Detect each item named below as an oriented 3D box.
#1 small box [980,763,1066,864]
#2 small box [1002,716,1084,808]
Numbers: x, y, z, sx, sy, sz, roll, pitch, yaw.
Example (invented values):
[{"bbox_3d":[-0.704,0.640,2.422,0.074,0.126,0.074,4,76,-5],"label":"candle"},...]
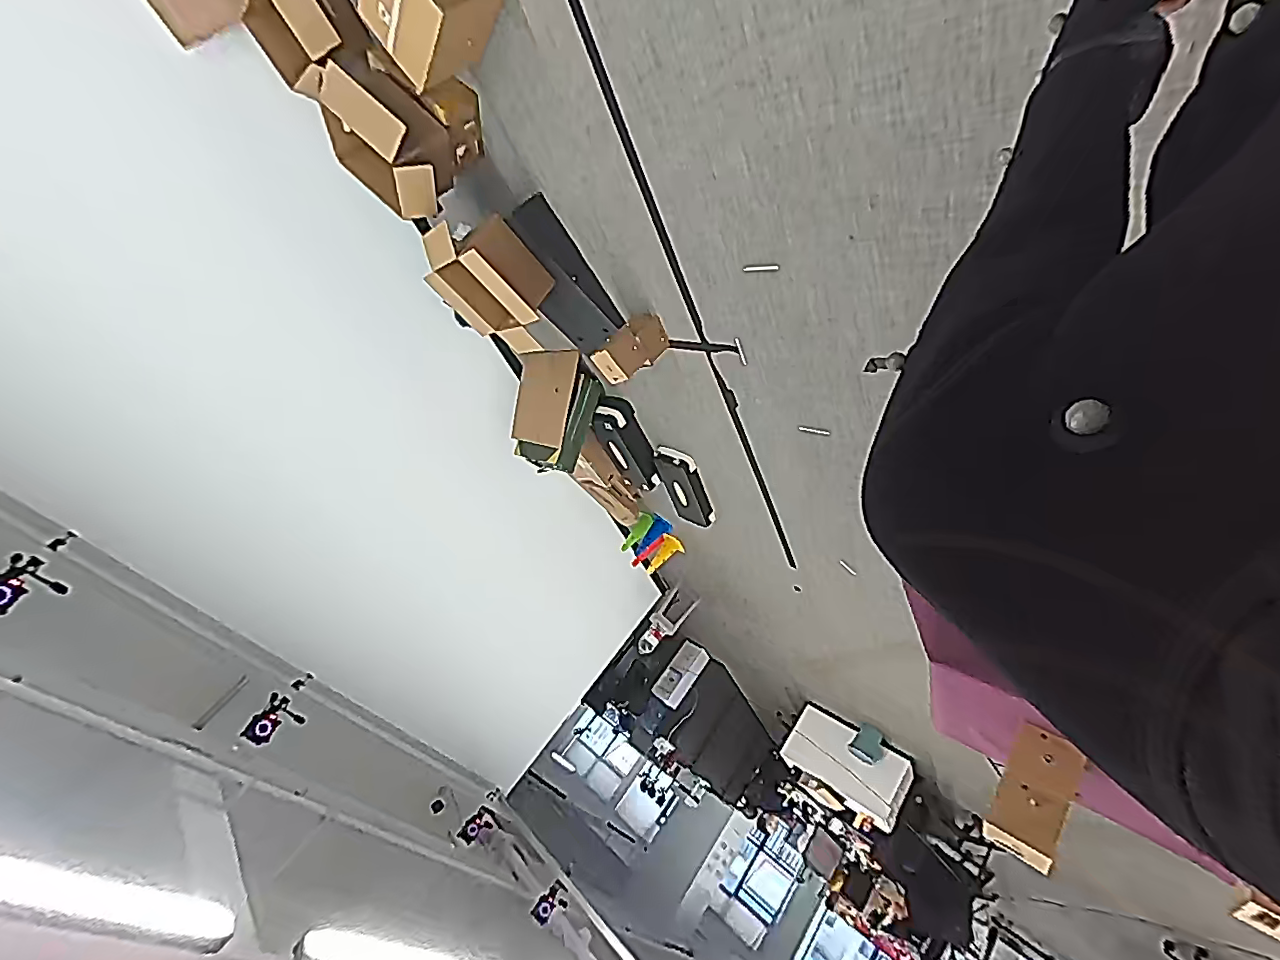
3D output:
[{"bbox_3d":[1.126,0.977,1.592,0.168,0.176,0.179,19,149,42],"label":"small box"},{"bbox_3d":[1.222,0.856,1.647,0.168,0.176,0.179,19,150,43],"label":"small box"}]
